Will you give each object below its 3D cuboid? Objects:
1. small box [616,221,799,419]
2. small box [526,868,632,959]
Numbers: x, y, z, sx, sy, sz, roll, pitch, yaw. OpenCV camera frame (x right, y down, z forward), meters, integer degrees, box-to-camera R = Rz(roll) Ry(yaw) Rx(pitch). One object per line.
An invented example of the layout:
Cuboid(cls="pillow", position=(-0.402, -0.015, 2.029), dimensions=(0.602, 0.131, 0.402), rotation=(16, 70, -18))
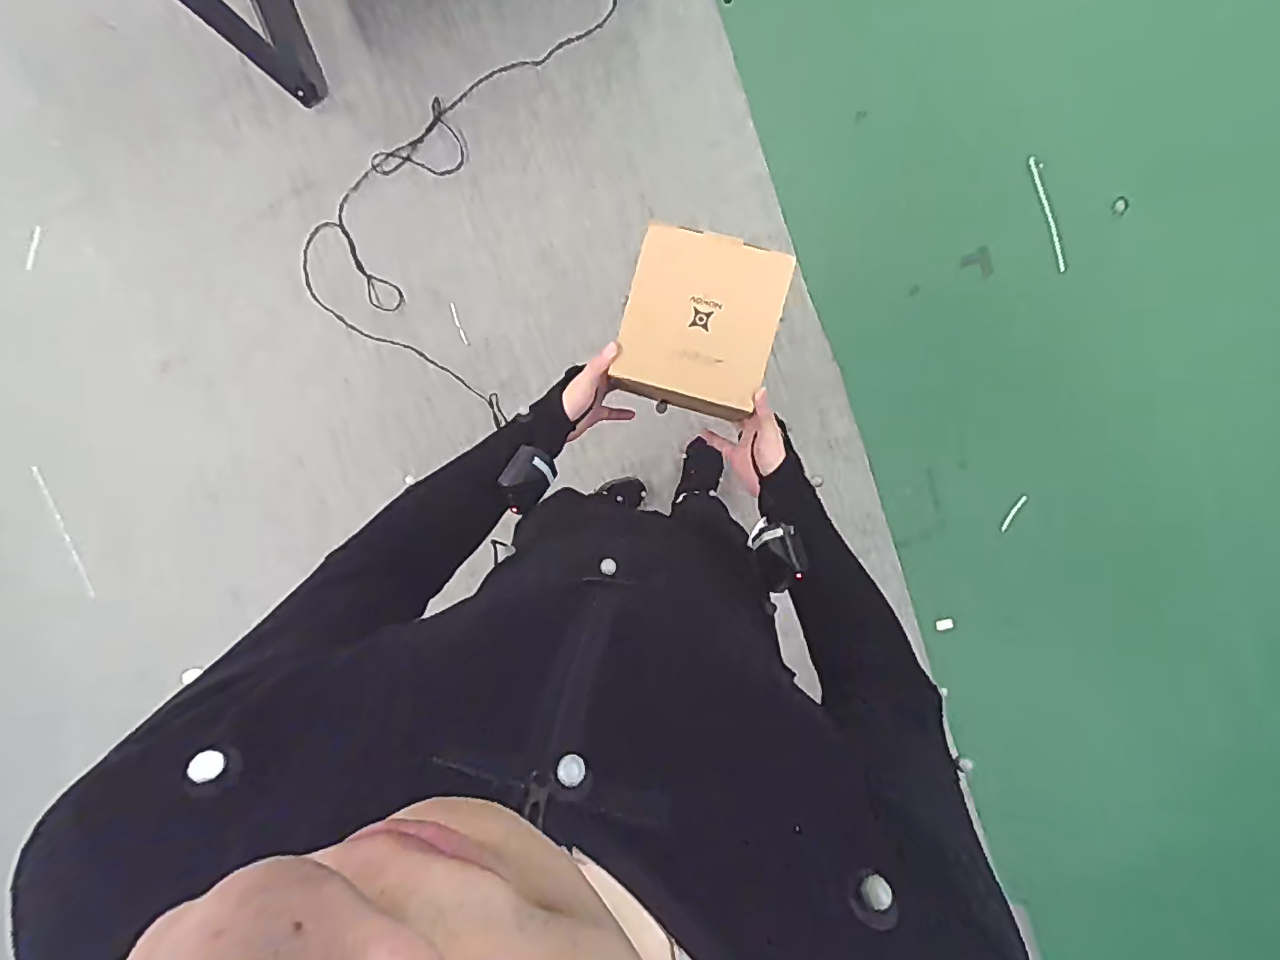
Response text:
Cuboid(cls="small box", position=(0.074, -0.181, 0.667), dimensions=(0.168, 0.176, 0.179), rotation=(15, 94, 1))
Cuboid(cls="small box", position=(-0.116, 0.941, 1.099), dimensions=(0.168, 0.176, 0.179), rotation=(-11, 96, 5))
